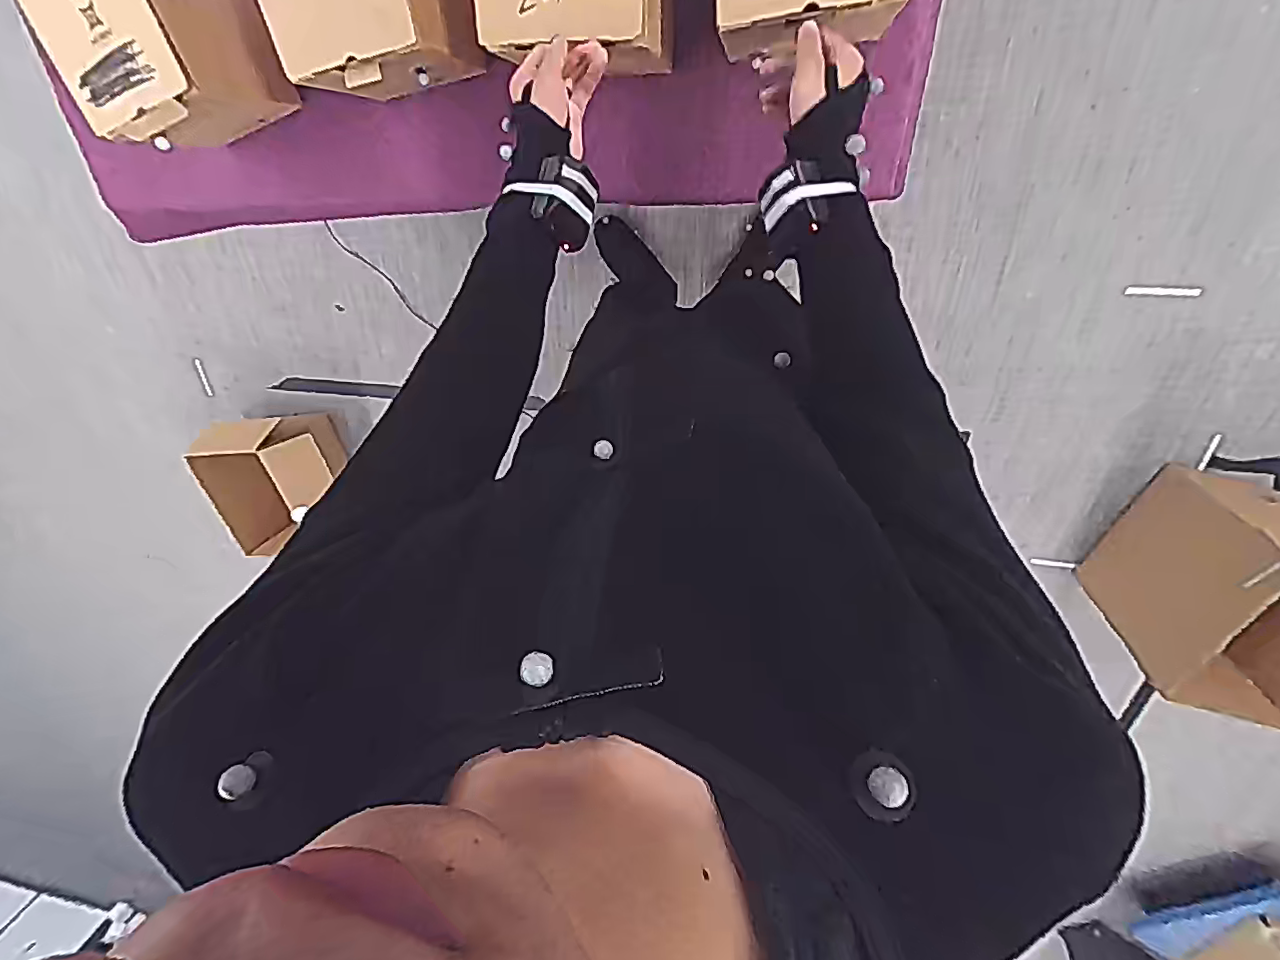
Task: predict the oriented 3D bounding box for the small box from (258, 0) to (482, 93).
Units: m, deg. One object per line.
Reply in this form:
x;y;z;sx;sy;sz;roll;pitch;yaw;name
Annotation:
-0.300;-0.549;0.597;0.168;0.176;0.179;-3;118;14;small box

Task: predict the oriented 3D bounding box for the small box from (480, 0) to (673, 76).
-0.057;-0.533;0.549;0.168;0.176;0.179;6;120;10;small box

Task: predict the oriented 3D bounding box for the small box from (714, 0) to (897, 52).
0.157;-0.525;0.503;0.168;0.176;0.179;1;118;13;small box
